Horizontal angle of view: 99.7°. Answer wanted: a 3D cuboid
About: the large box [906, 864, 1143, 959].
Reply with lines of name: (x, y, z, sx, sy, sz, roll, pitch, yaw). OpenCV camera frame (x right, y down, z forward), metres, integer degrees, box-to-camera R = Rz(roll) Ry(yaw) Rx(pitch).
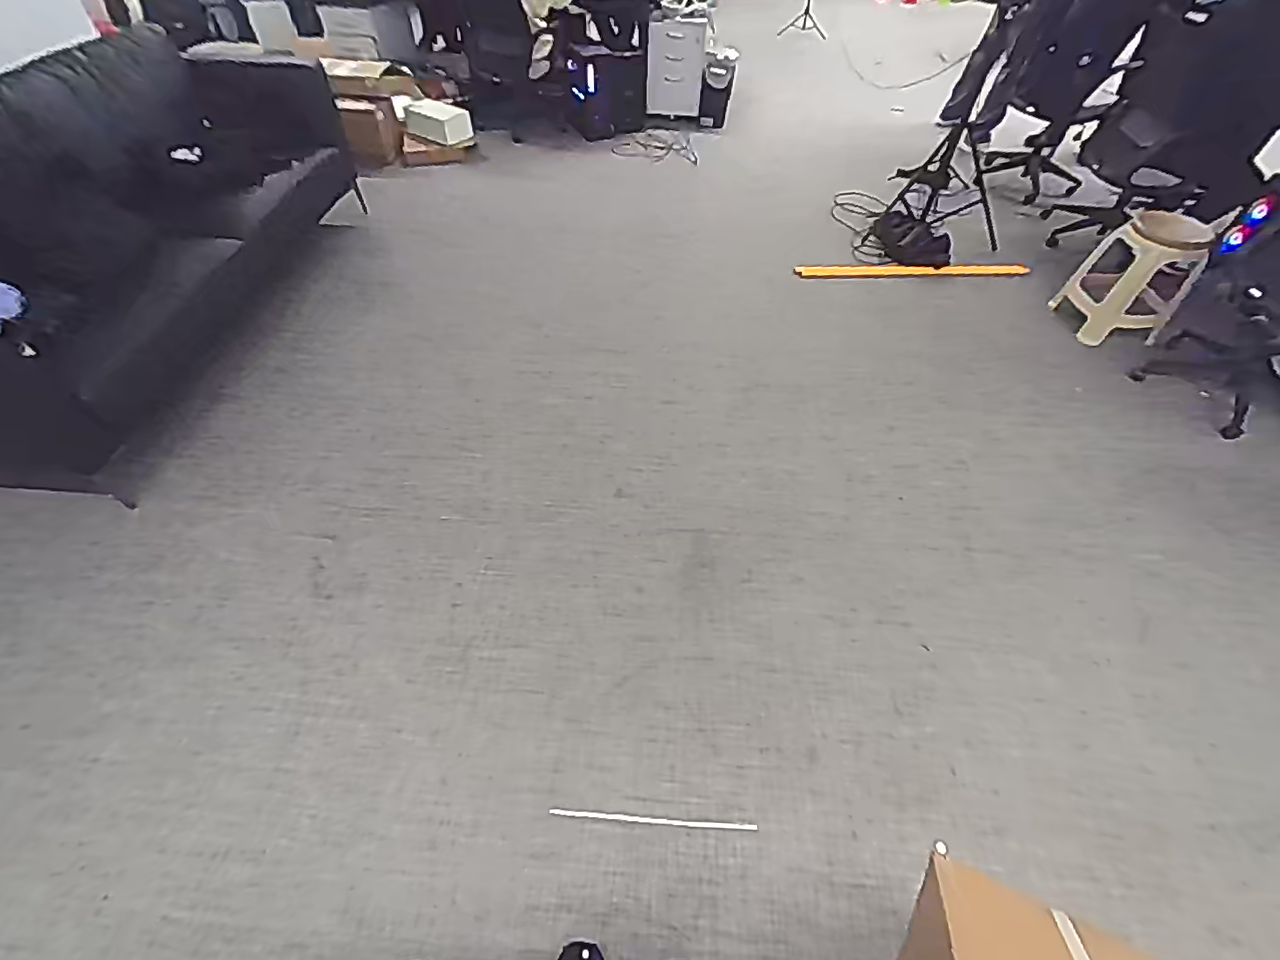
large box: (0.458, 0.737, 0.564, 0.320, 0.408, 0.320, 18, 93, 22)
